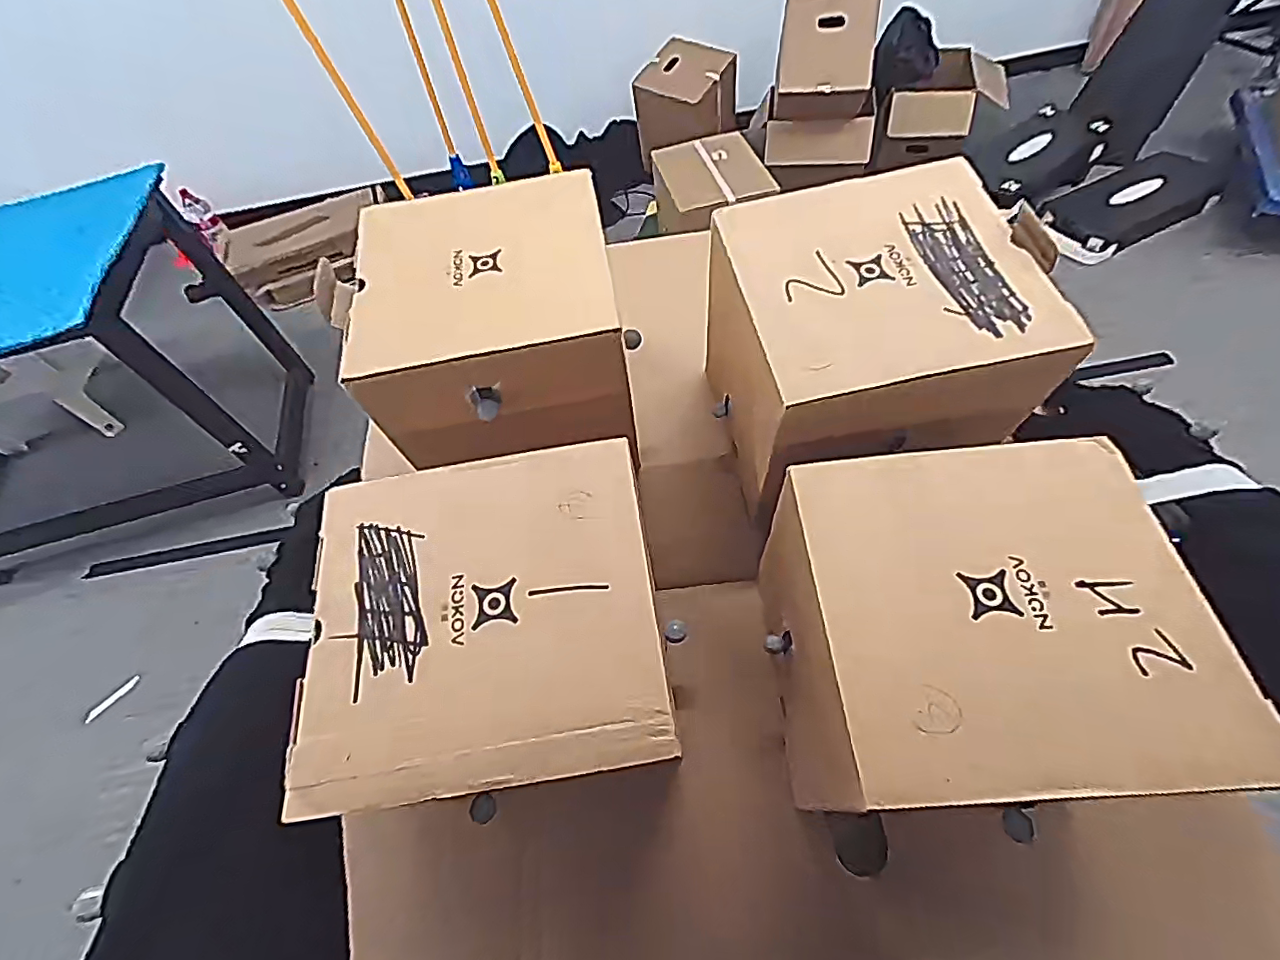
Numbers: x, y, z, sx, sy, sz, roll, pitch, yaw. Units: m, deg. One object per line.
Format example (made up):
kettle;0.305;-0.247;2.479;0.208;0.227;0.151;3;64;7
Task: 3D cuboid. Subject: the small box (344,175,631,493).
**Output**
small box;-0.105;-0.108;0.443;0.179;0.176;0.168;-11;61;0
